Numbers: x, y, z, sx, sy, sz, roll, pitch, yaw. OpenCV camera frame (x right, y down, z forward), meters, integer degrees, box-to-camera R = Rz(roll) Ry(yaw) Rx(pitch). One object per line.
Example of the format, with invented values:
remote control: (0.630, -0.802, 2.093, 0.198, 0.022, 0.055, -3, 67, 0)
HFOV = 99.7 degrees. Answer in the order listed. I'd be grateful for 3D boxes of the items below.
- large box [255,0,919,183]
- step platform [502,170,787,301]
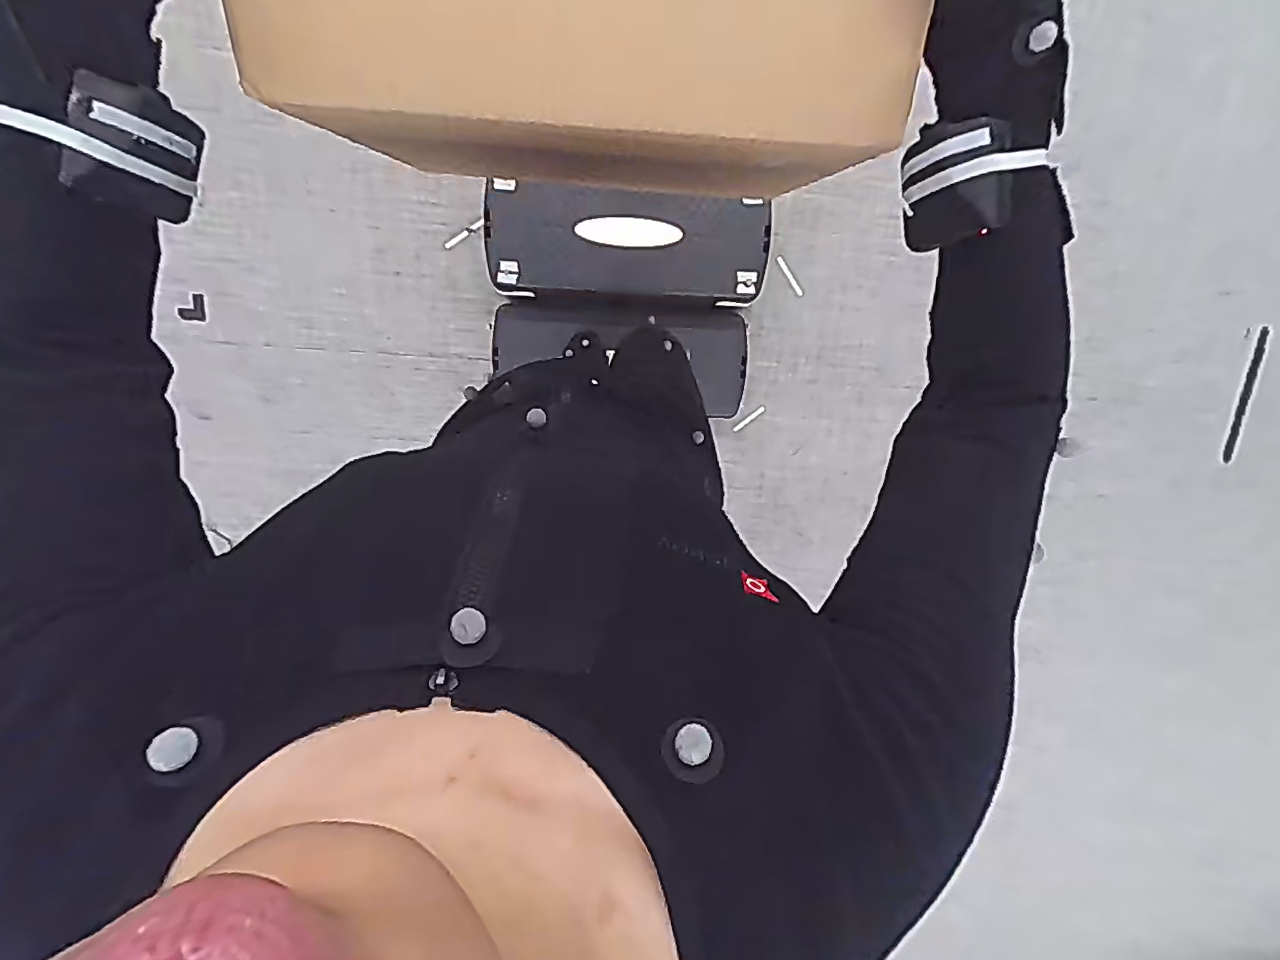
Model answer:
large box: (-0.030, -0.434, 0.423, 0.408, 0.320, 0.320, 2, 113, -3)
step platform: (0.009, -0.610, 1.340, 0.684, 0.204, 0.286, 1, 104, -3)
